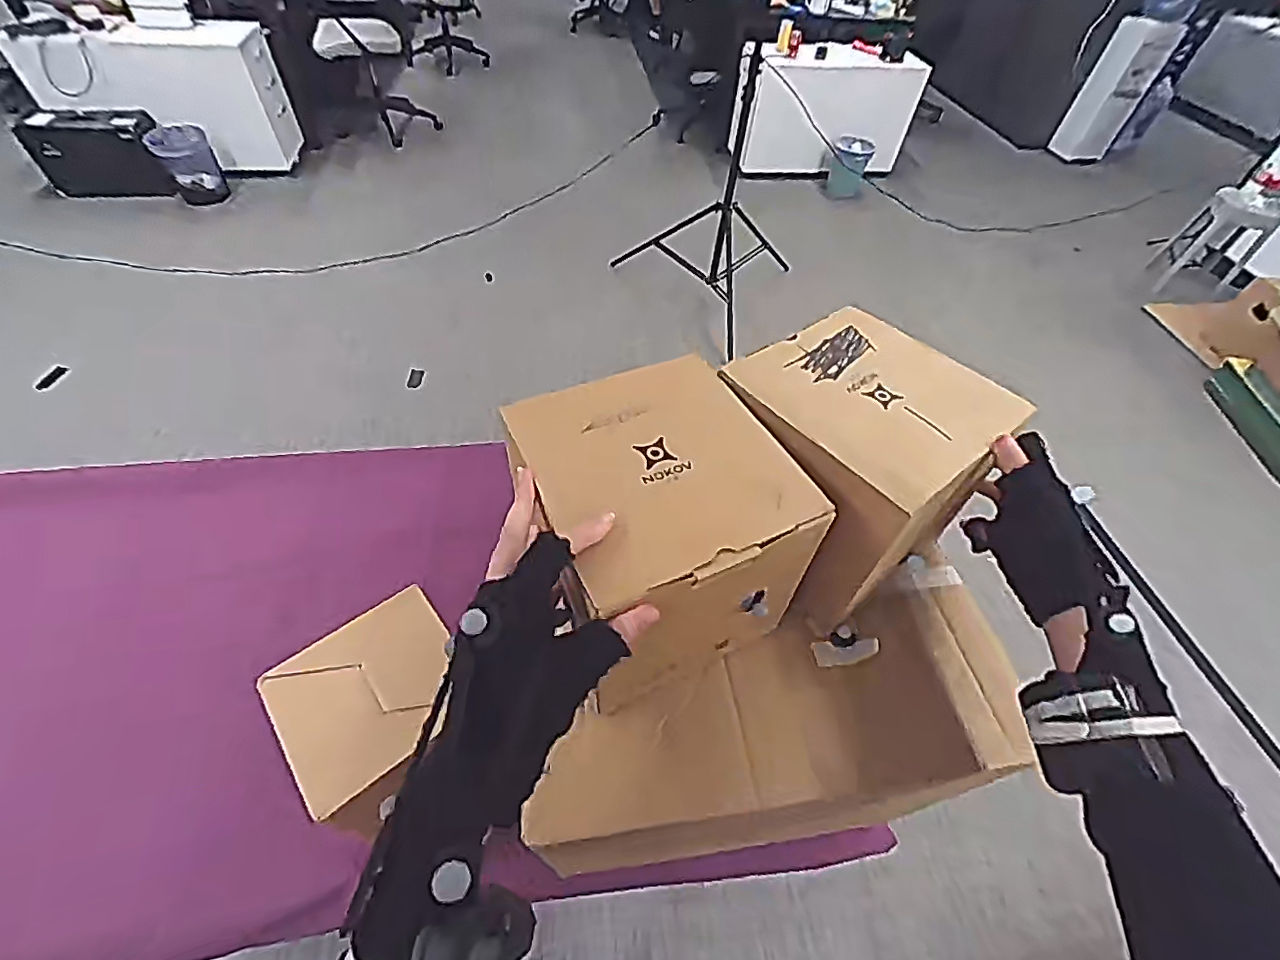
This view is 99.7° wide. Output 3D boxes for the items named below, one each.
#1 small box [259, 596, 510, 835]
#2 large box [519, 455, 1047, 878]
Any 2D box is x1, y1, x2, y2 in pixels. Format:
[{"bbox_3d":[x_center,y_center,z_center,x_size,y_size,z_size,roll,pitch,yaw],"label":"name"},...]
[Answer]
[{"bbox_3d":[-0.274,0.256,0.607,0.179,0.176,0.168,-32,59,-25],"label":"small box"},{"bbox_3d":[0.089,0.202,0.593,0.408,0.320,0.320,-5,51,-7],"label":"large box"}]
